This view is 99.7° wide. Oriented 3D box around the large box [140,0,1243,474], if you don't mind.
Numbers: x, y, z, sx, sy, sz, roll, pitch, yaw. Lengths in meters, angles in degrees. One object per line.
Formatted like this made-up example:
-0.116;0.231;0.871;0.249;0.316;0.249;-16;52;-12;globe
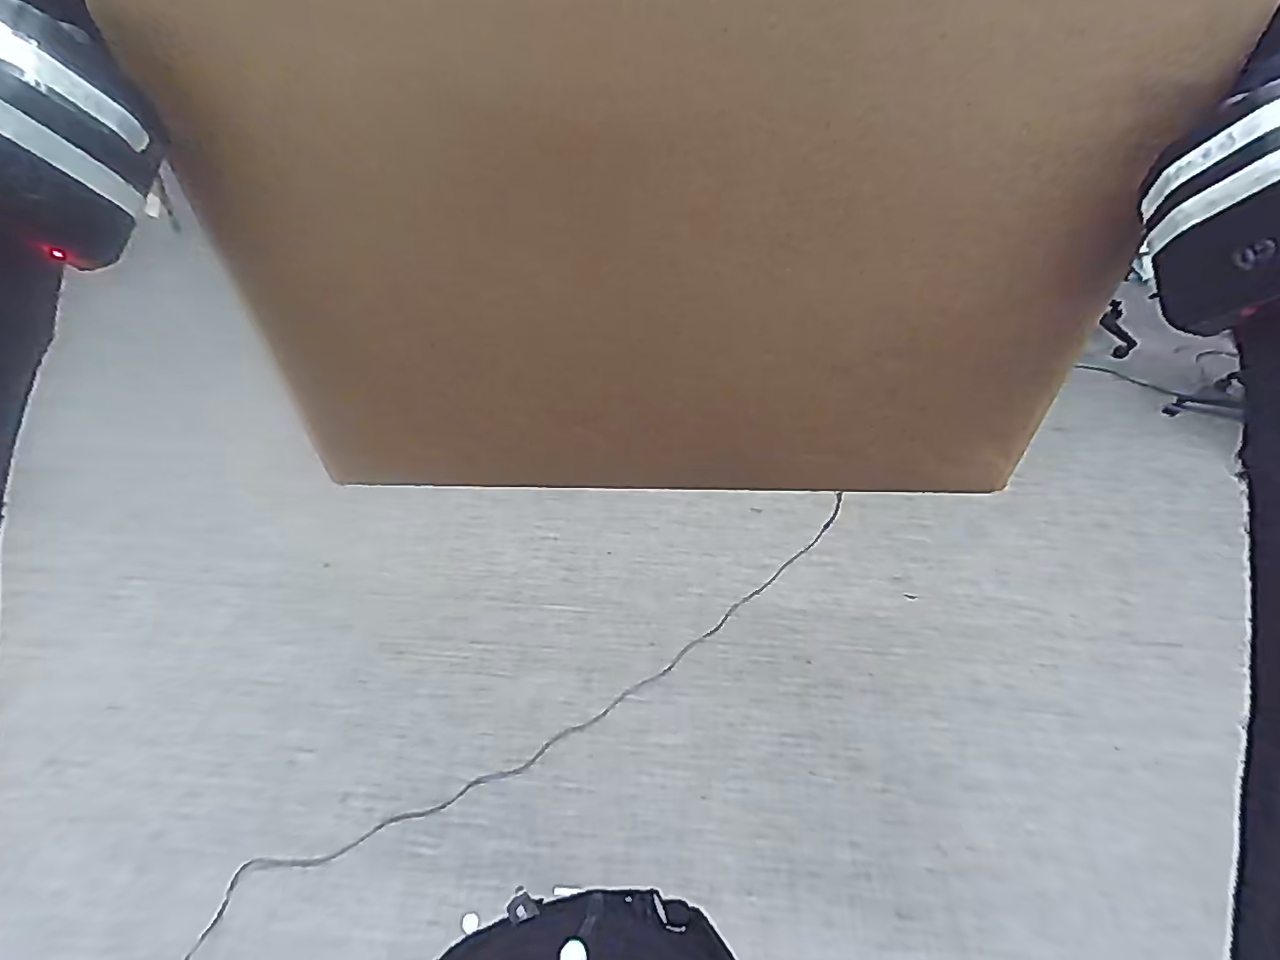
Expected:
0.017;-0.214;0.346;0.408;0.320;0.320;1;41;1;large box
